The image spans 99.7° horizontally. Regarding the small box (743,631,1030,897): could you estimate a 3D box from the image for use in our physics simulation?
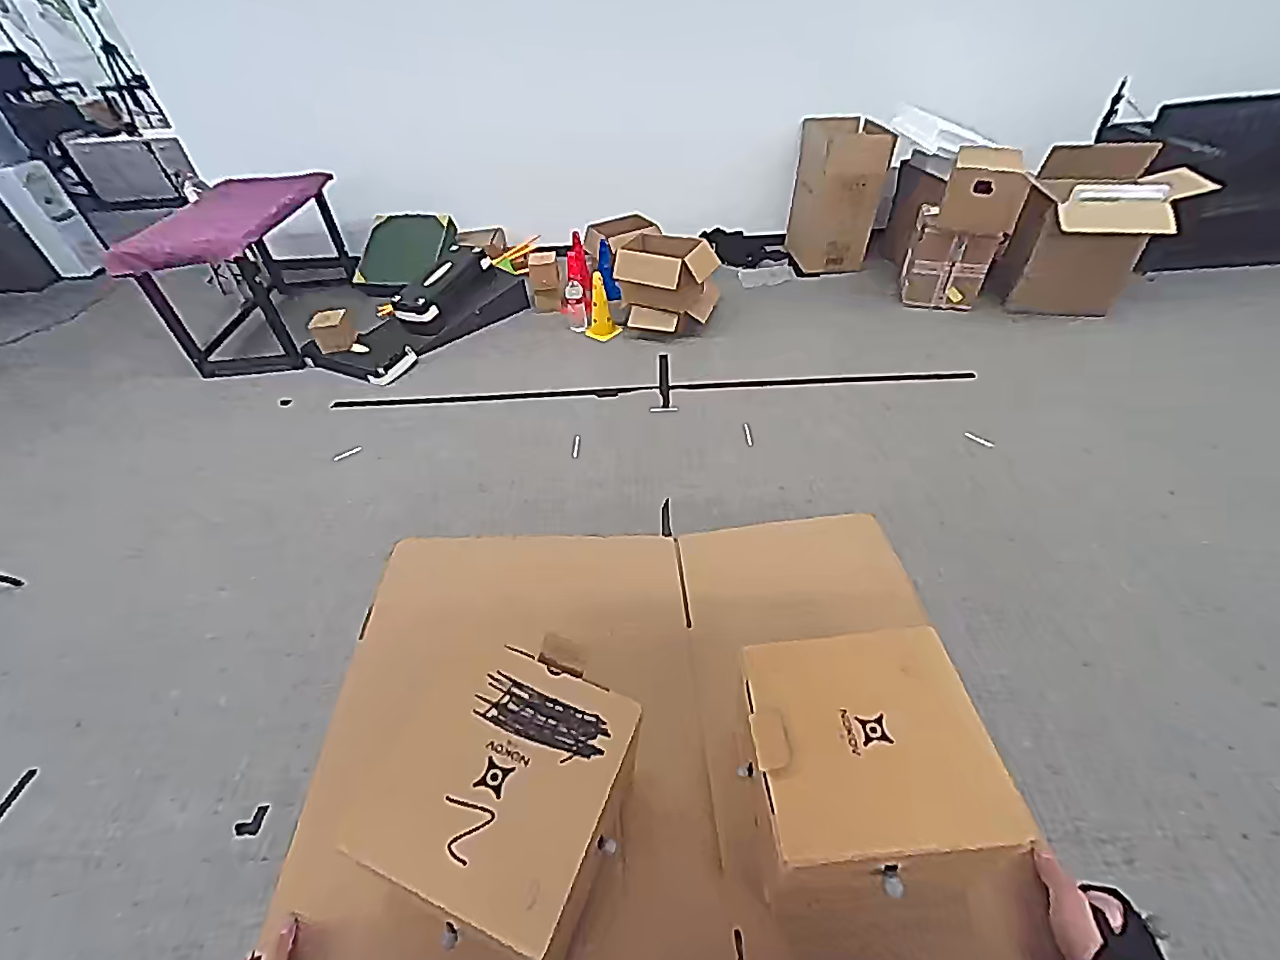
[{"bbox_3d":[0.196,0.261,0.495,0.179,0.176,0.168,-8,43,3],"label":"small box"}]
